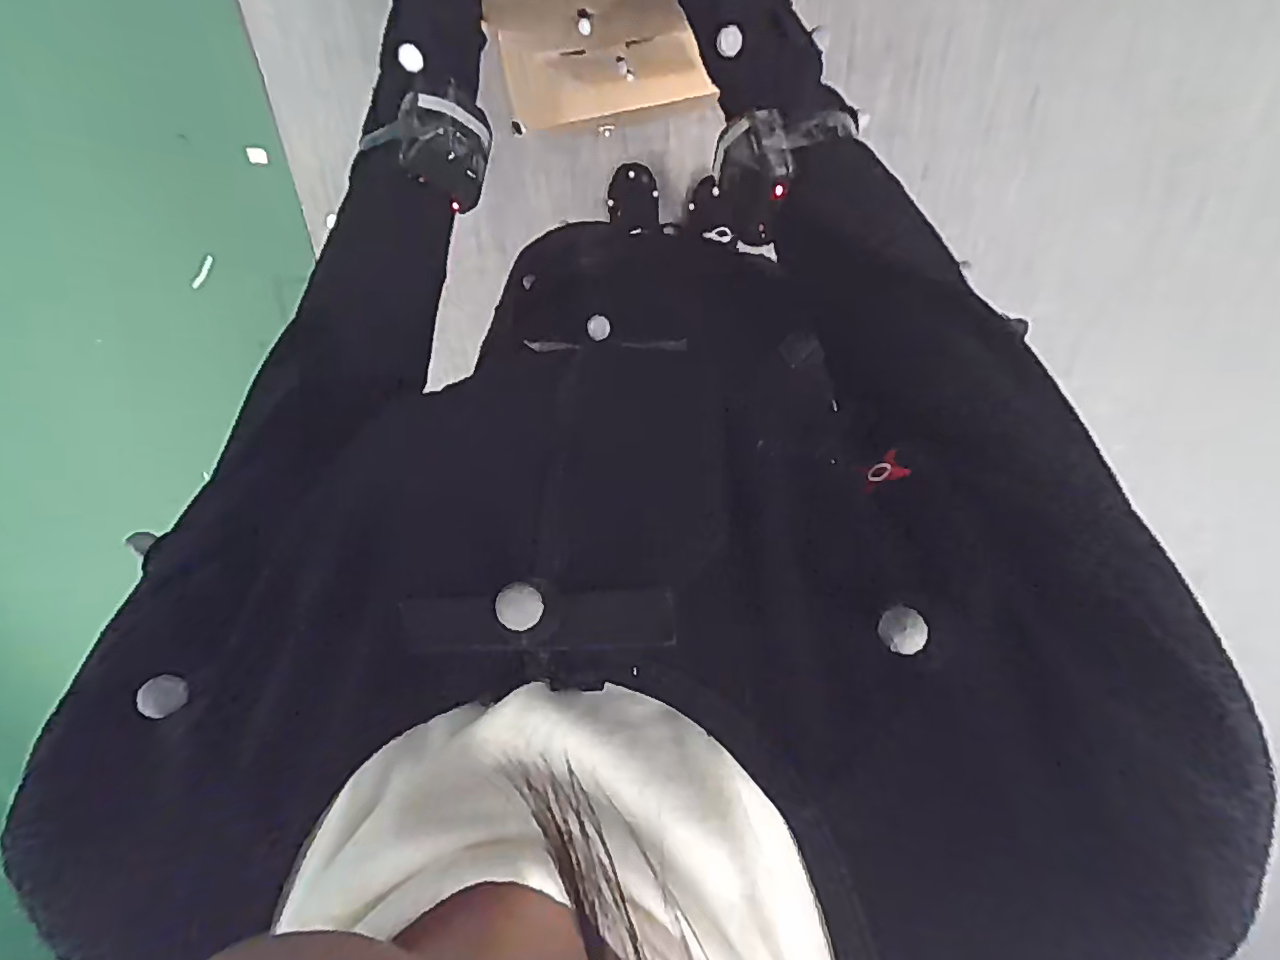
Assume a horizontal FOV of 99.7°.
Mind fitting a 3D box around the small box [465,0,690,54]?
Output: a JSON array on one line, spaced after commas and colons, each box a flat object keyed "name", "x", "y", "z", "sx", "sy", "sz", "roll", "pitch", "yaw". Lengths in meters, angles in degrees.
[{"name": "small box", "x": -0.048, "y": -0.468, "z": 0.428, "sx": 0.179, "sy": 0.176, "sz": 0.168, "roll": -4, "pitch": 116, "yaw": 7}]

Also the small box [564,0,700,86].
[{"name": "small box", "x": -0.012, "y": -0.652, "z": 0.735, "sx": 0.179, "sy": 0.176, "sz": 0.168, "roll": -1, "pitch": 122, "yaw": 9}]

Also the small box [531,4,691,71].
[{"name": "small box", "x": -0.034, "y": -0.570, "z": 0.595, "sx": 0.168, "sy": 0.176, "sz": 0.179, "roll": -1, "pitch": 122, "yaw": 10}]
